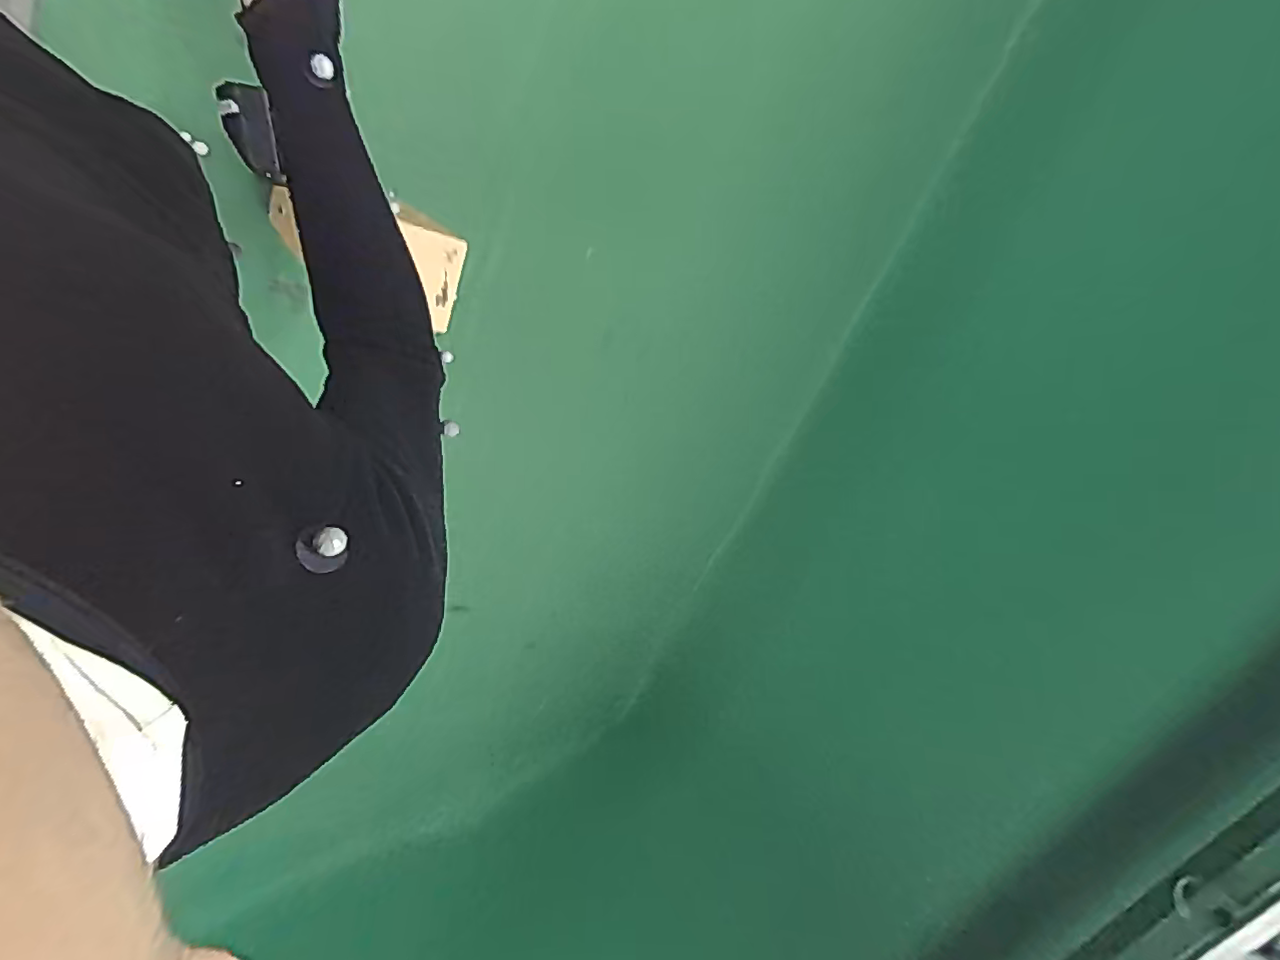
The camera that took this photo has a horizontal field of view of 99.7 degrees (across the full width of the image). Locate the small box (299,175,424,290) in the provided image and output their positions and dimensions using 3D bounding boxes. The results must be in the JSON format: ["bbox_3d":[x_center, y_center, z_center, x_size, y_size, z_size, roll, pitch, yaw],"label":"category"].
[{"bbox_3d":[-0.546,-0.464,1.049,0.168,0.176,0.179,0,122,-44],"label":"small box"}]

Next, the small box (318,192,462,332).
[{"bbox_3d":[-0.444,-0.383,0.949,0.179,0.176,0.168,3,120,-45],"label":"small box"}]

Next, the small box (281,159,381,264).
[{"bbox_3d":[-0.646,-0.548,1.148,0.168,0.176,0.179,1,120,-45],"label":"small box"}]

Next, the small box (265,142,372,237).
[{"bbox_3d":[-0.742,-0.639,1.242,0.168,0.176,0.179,5,118,-47],"label":"small box"}]
